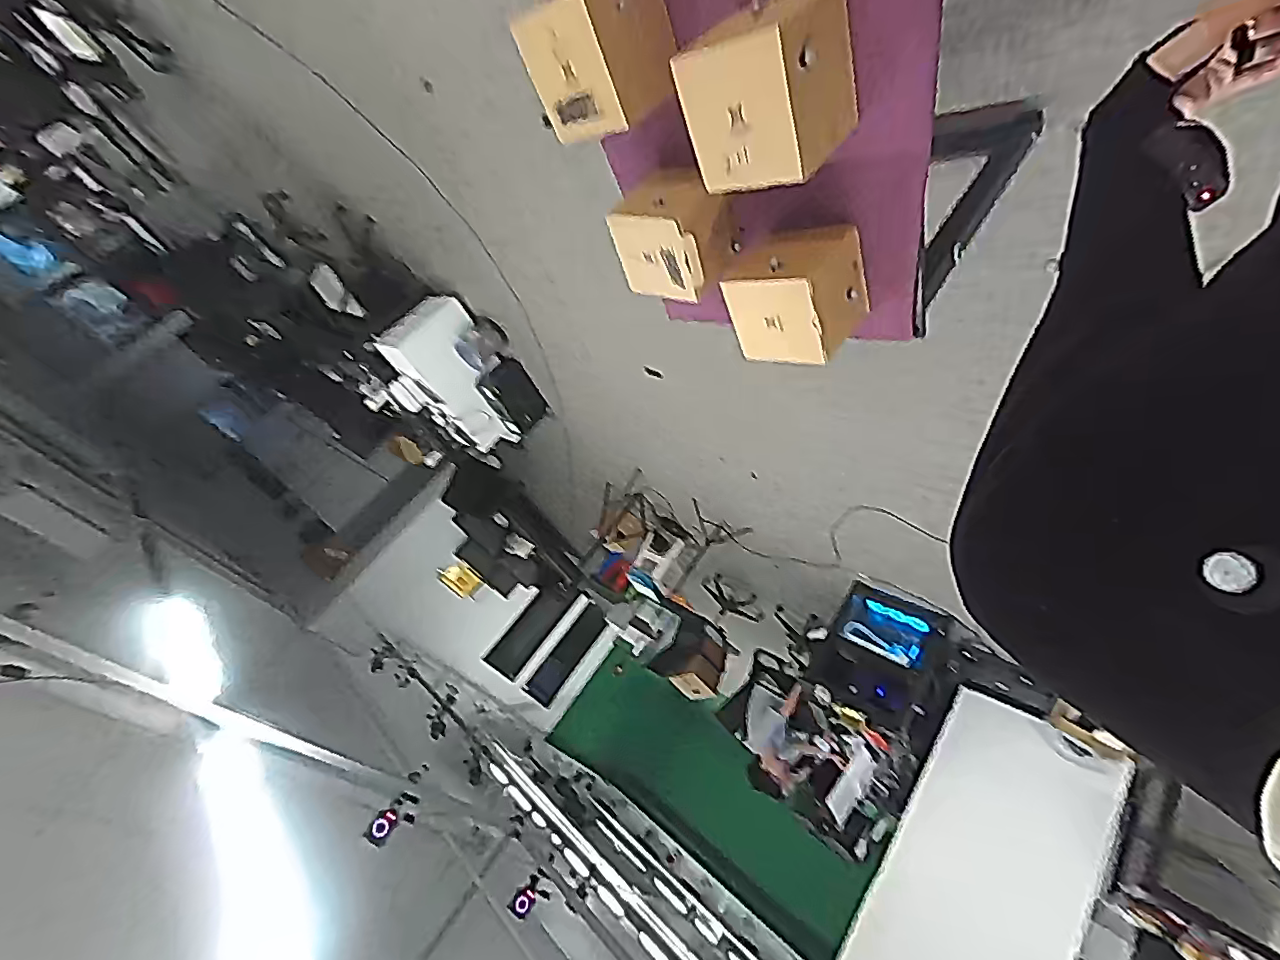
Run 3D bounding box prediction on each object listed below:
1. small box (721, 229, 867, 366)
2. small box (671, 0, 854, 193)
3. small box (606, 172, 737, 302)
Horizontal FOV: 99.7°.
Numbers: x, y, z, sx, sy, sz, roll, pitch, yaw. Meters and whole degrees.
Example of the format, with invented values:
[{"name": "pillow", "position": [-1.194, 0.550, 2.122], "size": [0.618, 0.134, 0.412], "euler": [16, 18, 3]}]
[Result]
[{"name": "small box", "position": [0.281, -0.328, 0.974], "size": [0.179, 0.176, 0.168], "euler": [17, 148, 44]}, {"name": "small box", "position": [0.176, -0.530, 0.745], "size": [0.168, 0.176, 0.179], "euler": [20, 152, 41]}, {"name": "small box", "position": [0.071, -0.471, 1.040], "size": [0.179, 0.176, 0.168], "euler": [23, 153, 35]}]
